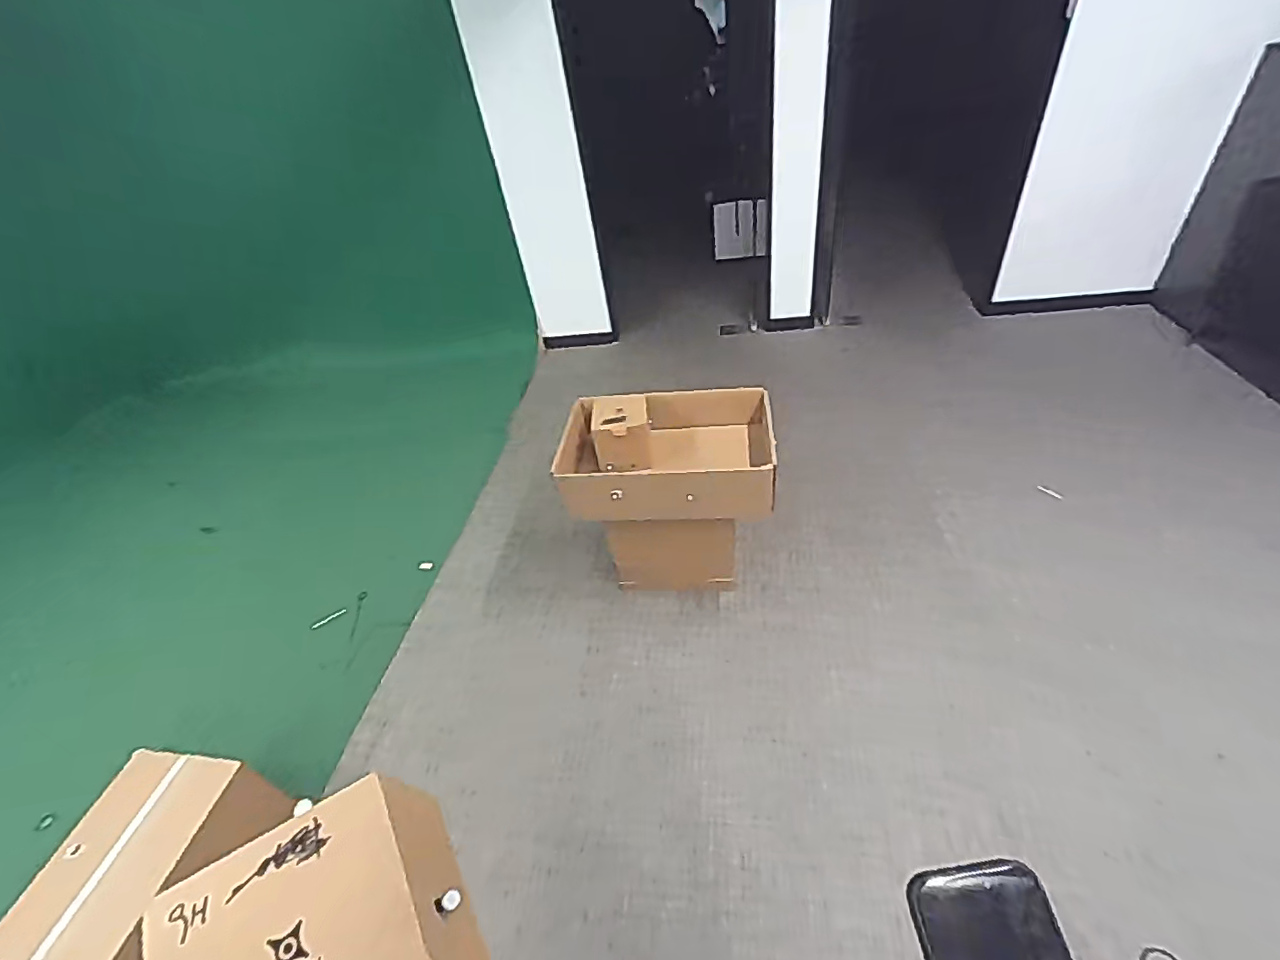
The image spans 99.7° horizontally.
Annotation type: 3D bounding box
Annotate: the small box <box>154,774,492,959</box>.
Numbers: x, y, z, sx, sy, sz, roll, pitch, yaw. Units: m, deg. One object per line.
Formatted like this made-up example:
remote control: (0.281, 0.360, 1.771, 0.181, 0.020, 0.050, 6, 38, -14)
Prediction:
small box: (-0.234, 0.372, 0.432, 0.168, 0.176, 0.179, -25, 58, -18)

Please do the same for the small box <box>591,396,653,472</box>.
small box: (-0.051, -0.138, 1.683, 0.168, 0.176, 0.179, -7, 39, 4)
